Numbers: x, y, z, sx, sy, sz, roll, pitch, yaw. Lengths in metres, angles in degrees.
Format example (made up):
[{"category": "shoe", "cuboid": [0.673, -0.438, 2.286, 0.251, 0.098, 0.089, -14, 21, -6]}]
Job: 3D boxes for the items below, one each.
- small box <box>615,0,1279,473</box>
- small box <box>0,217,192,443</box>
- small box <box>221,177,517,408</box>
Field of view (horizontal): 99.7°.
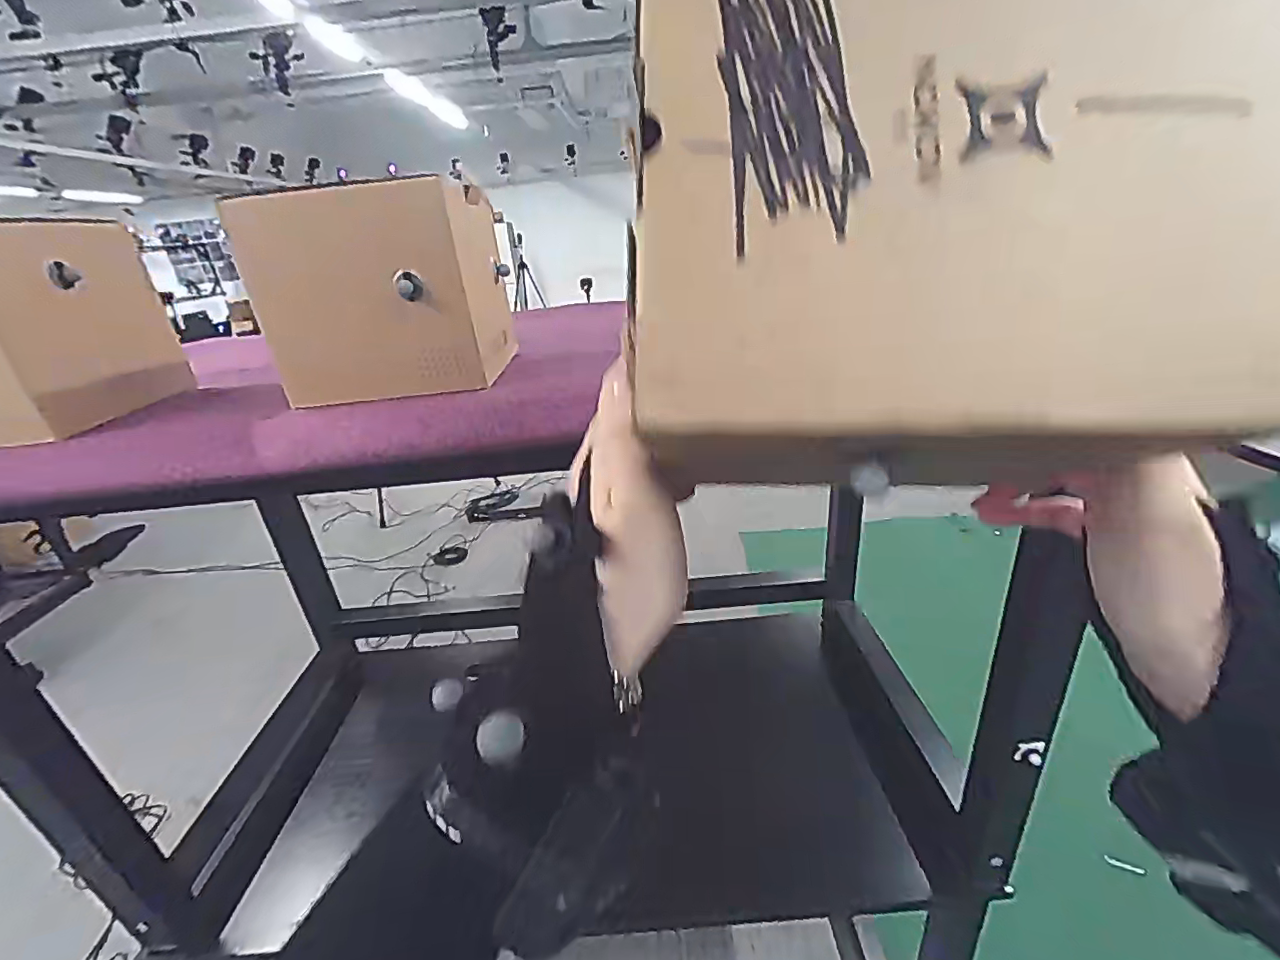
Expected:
[{"category": "small box", "cuboid": [0.090, -0.093, 0.229, 0.179, 0.168, 0.176, 1, -6, 5]}, {"category": "small box", "cuboid": [-0.565, -0.135, 0.487, 0.168, 0.176, 0.179, -5, 25, -1]}, {"category": "small box", "cuboid": [-0.226, -0.176, 0.512, 0.179, 0.176, 0.168, -7, 24, 1]}]
